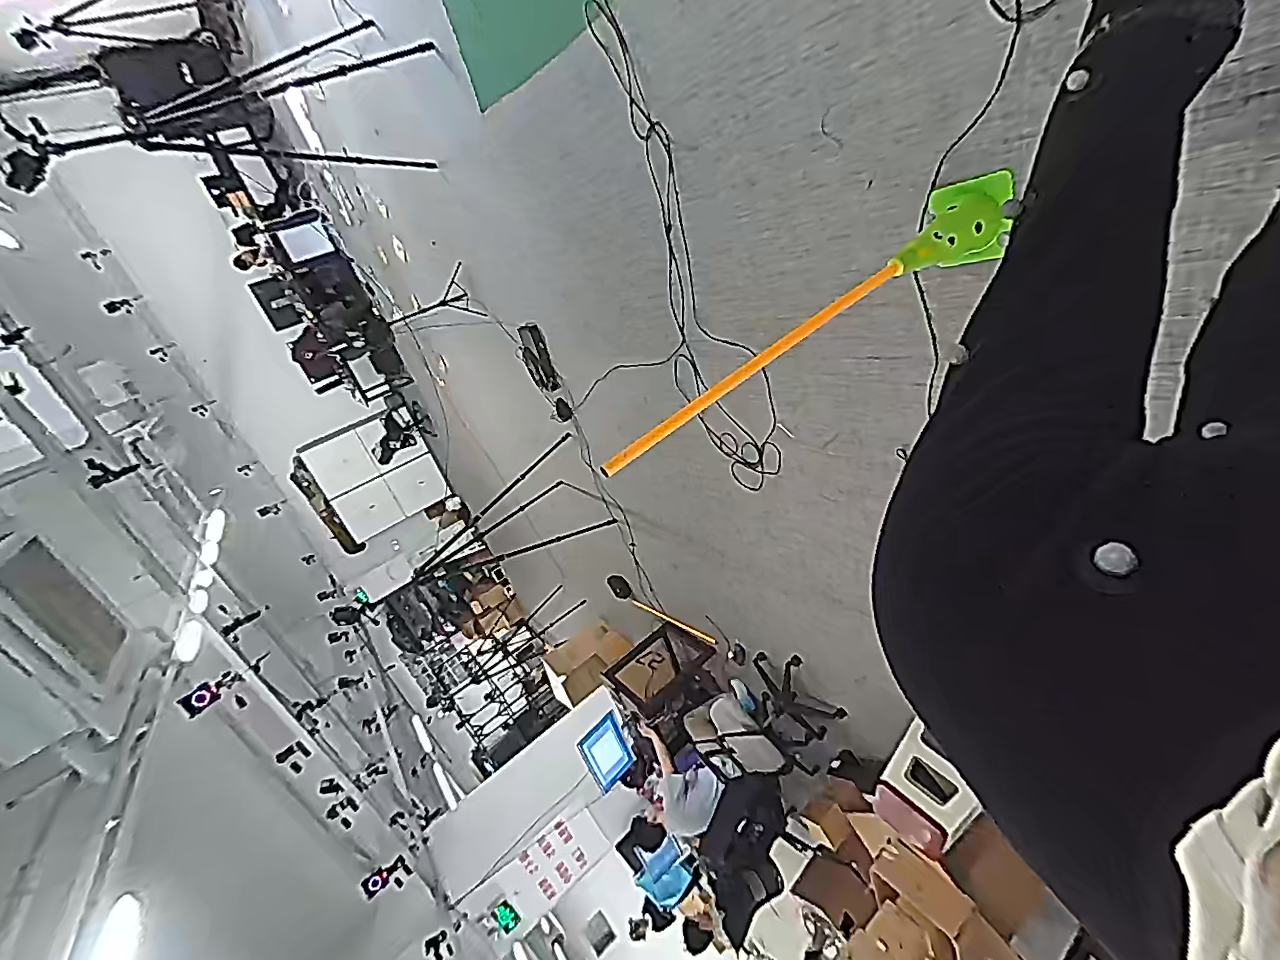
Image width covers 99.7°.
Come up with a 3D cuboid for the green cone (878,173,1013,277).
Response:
[{"bbox_3d":[0.712,-0.583,1.325,0.202,0.368,0.200,16,133,57],"label":"green cone"}]
